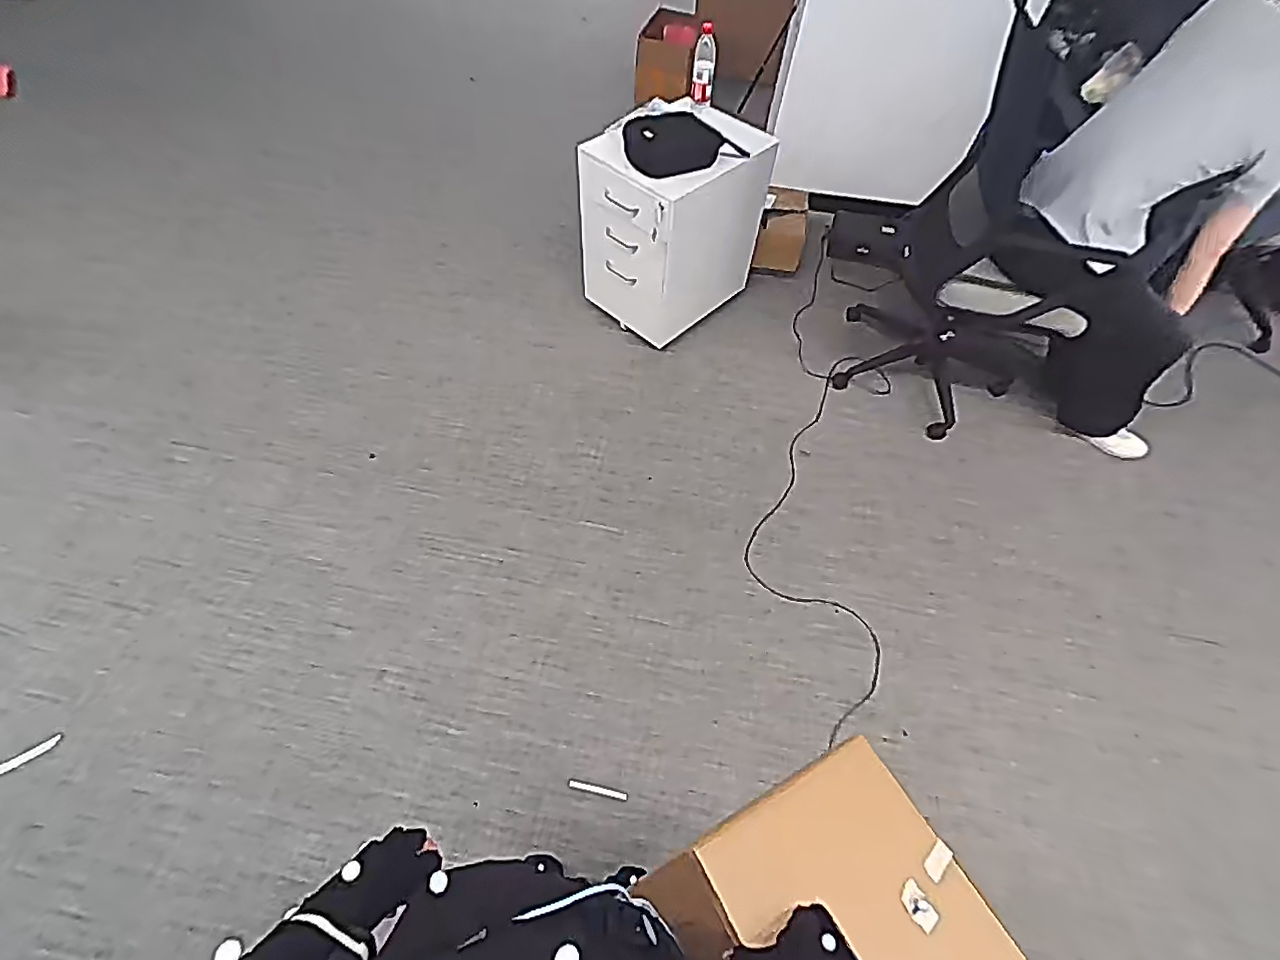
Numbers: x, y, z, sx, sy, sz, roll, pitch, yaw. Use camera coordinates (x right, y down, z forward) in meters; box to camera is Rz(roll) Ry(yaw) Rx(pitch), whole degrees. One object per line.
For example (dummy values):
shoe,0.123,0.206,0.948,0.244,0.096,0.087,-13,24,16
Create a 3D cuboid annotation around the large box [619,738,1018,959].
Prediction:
large box,0.209,0.638,0.761,0.320,0.408,0.320,-13,52,-29
